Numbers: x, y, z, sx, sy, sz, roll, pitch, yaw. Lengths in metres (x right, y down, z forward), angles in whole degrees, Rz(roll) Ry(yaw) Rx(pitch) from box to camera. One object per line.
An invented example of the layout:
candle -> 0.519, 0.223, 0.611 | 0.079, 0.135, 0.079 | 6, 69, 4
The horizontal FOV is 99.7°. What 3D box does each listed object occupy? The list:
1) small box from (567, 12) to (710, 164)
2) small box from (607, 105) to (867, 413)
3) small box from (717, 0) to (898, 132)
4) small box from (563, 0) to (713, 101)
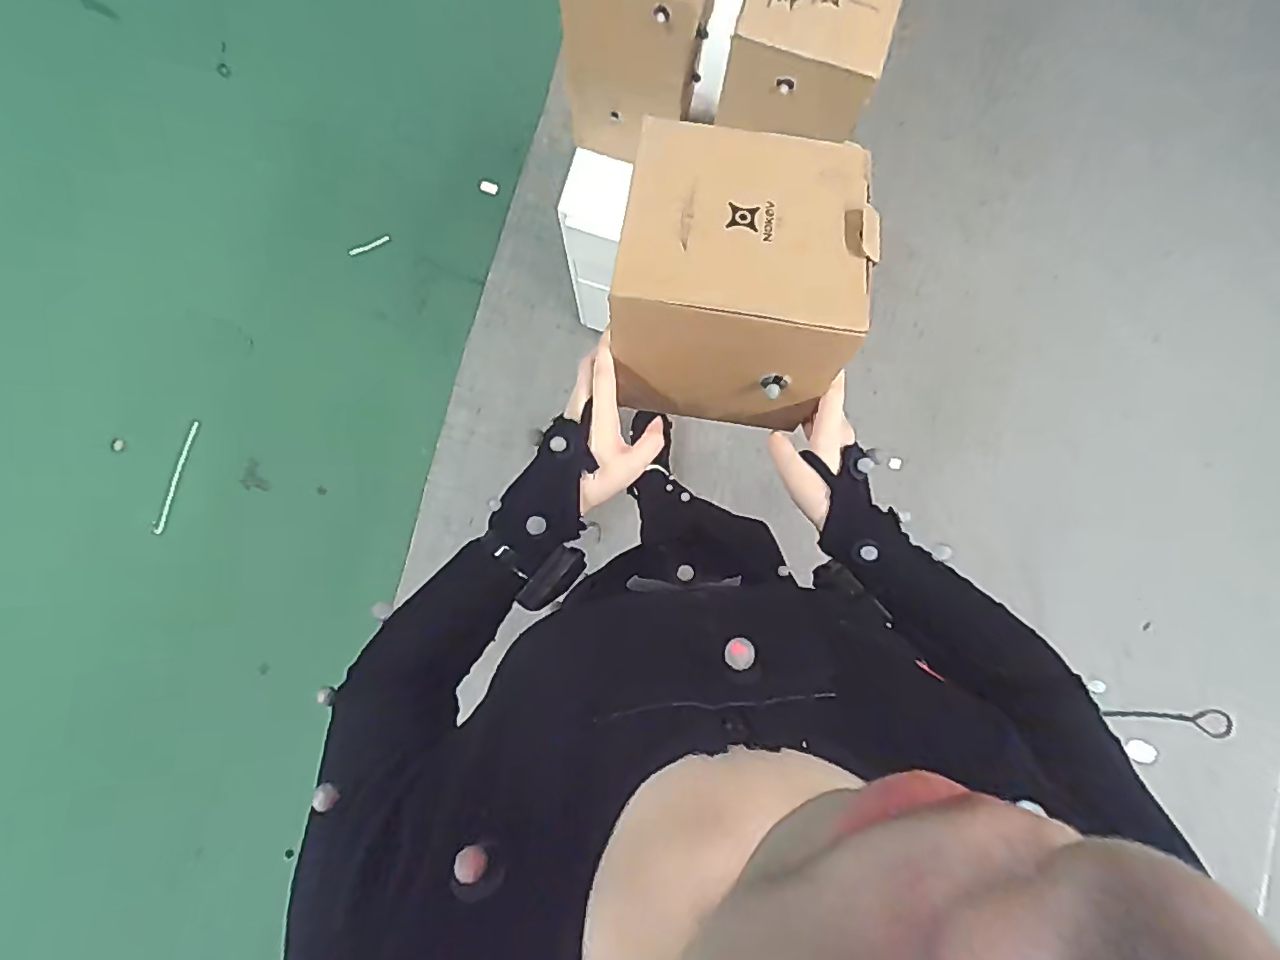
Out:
small box -> -0.006, -0.636, 0.869 | 0.179, 0.176, 0.168 | 16, 85, -3
small box -> 0.071, -0.170, 0.459 | 0.179, 0.176, 0.168 | 8, 70, 1
small box -> 0.208, -0.549, 0.704 | 0.179, 0.176, 0.168 | 17, 85, 0
small box -> 0.002, -0.645, 0.705 | 0.179, 0.176, 0.168 | 18, 85, -3
